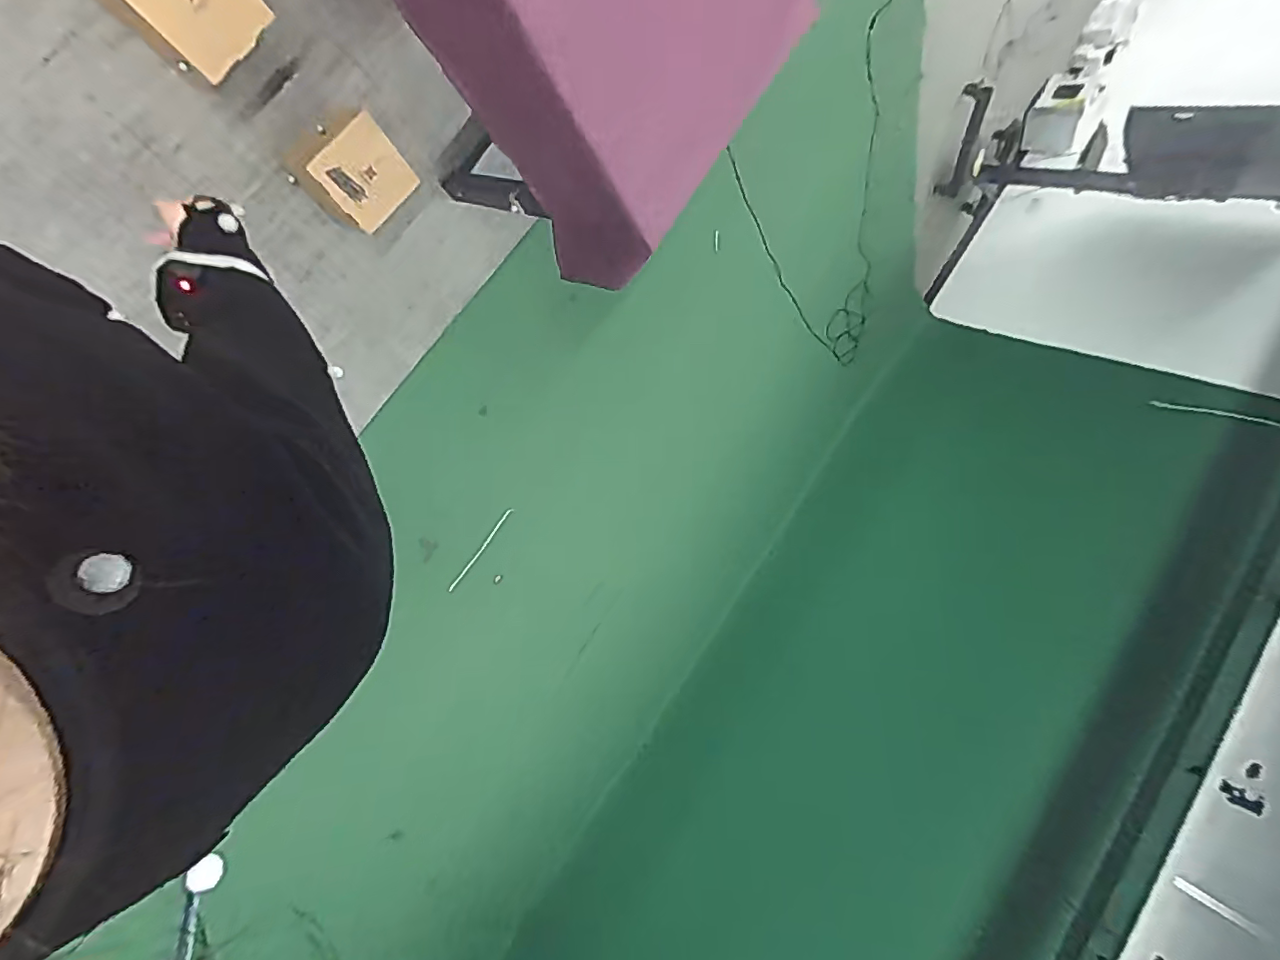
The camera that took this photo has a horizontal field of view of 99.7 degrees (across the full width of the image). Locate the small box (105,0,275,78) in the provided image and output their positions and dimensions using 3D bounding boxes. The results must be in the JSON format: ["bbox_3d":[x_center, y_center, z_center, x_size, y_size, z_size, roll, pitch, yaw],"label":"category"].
[{"bbox_3d":[-0.772,-0.814,0.907,0.168,0.176,0.179,-55,145,-6],"label":"small box"}]
